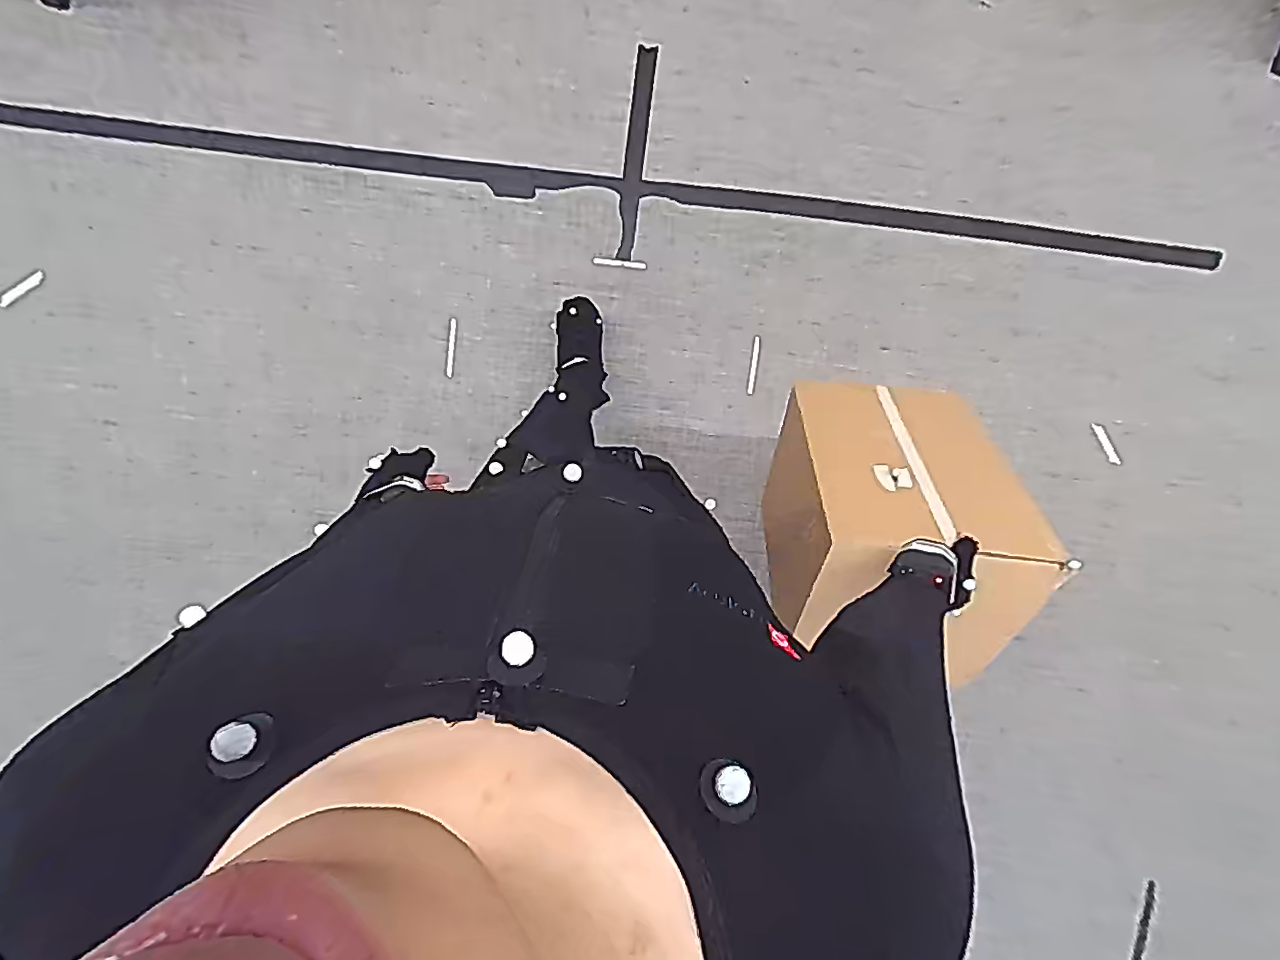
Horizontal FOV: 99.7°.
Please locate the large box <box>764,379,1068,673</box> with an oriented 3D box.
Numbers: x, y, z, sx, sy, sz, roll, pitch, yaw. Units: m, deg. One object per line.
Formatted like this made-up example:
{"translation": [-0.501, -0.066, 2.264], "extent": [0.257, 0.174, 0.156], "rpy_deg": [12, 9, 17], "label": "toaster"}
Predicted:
{"translation": [0.419, 0.070, 0.957], "extent": [0.320, 0.408, 0.320], "rpy_deg": [5, 134, 2], "label": "large box"}
